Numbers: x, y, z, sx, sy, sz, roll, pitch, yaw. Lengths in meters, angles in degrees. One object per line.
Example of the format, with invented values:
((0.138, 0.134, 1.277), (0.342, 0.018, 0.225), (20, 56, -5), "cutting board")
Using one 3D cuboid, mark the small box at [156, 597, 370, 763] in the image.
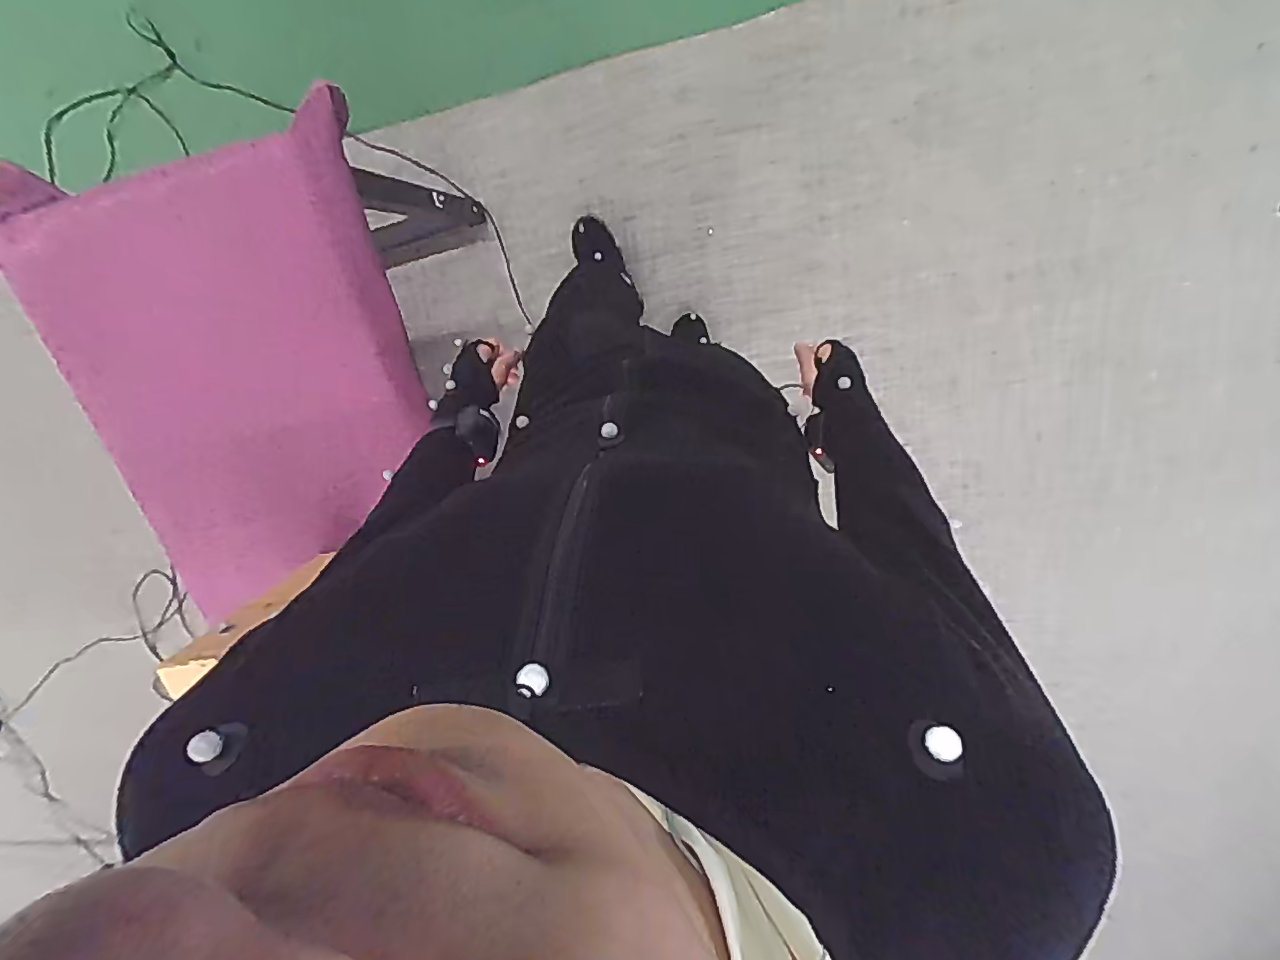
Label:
((-0.552, 0.291, 0.818), (0.168, 0.176, 0.179), (-9, 109, 12), "small box")
